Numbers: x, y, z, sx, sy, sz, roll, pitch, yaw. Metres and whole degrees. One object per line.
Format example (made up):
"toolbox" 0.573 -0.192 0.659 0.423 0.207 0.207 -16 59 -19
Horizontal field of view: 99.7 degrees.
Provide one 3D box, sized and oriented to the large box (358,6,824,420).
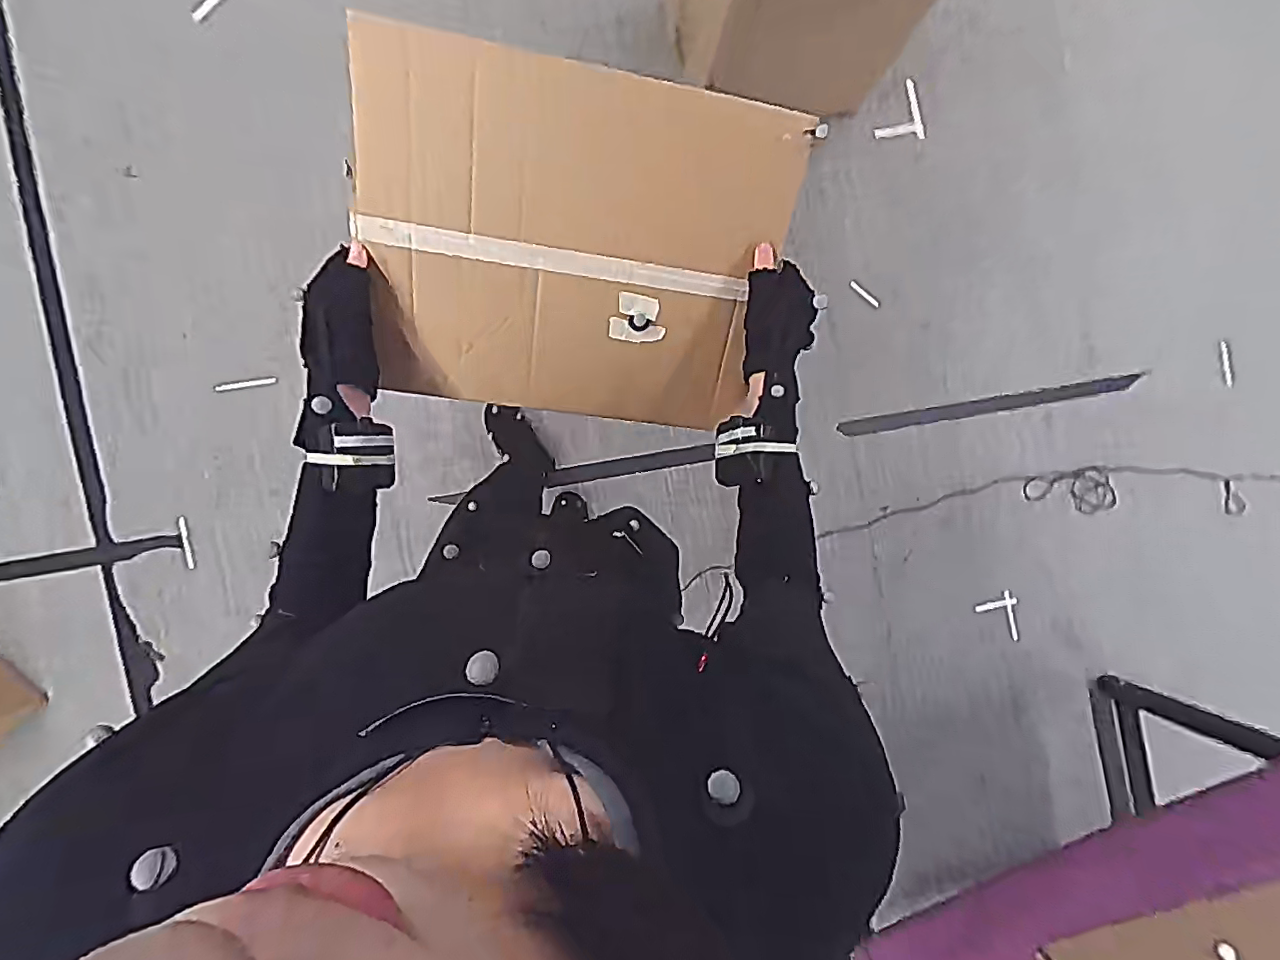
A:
"large box" -0.068 -0.286 0.651 0.408 0.320 0.320 6 117 -10
